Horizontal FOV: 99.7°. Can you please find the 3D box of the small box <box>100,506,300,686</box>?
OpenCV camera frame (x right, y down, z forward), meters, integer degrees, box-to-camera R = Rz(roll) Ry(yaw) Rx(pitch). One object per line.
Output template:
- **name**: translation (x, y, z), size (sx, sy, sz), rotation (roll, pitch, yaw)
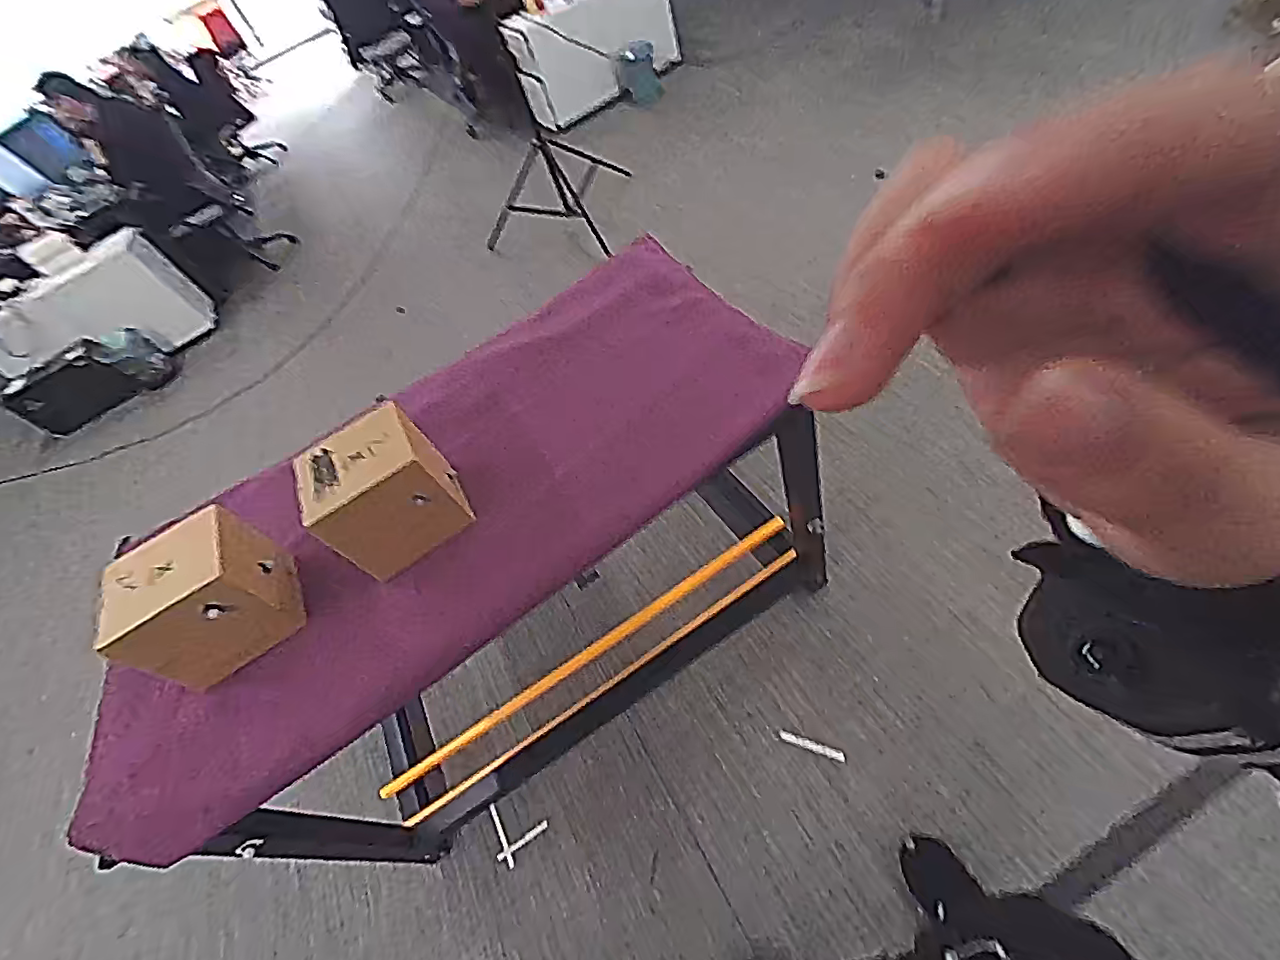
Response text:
- **small box**: translation (-0.655, 0.179, 0.829), size (0.179, 0.176, 0.168), rotation (-34, 50, -10)
